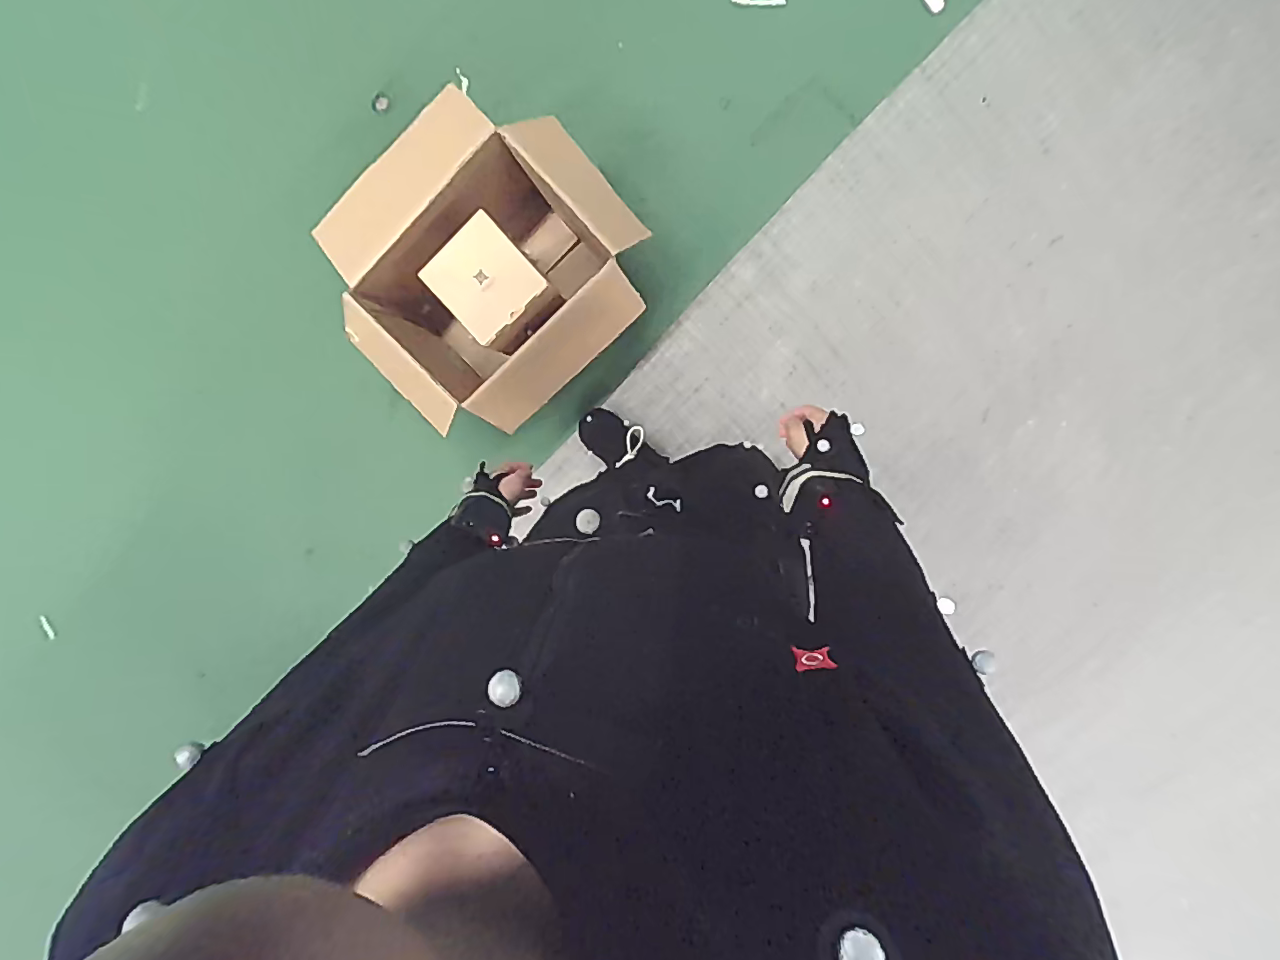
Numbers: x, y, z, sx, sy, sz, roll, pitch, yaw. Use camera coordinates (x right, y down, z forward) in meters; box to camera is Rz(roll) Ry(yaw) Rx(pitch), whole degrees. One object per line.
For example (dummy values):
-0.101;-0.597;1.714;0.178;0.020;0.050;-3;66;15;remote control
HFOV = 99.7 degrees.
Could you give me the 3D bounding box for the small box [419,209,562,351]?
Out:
-0.273;-0.365;1.030;0.168;0.176;0.179;-42;95;7;small box
